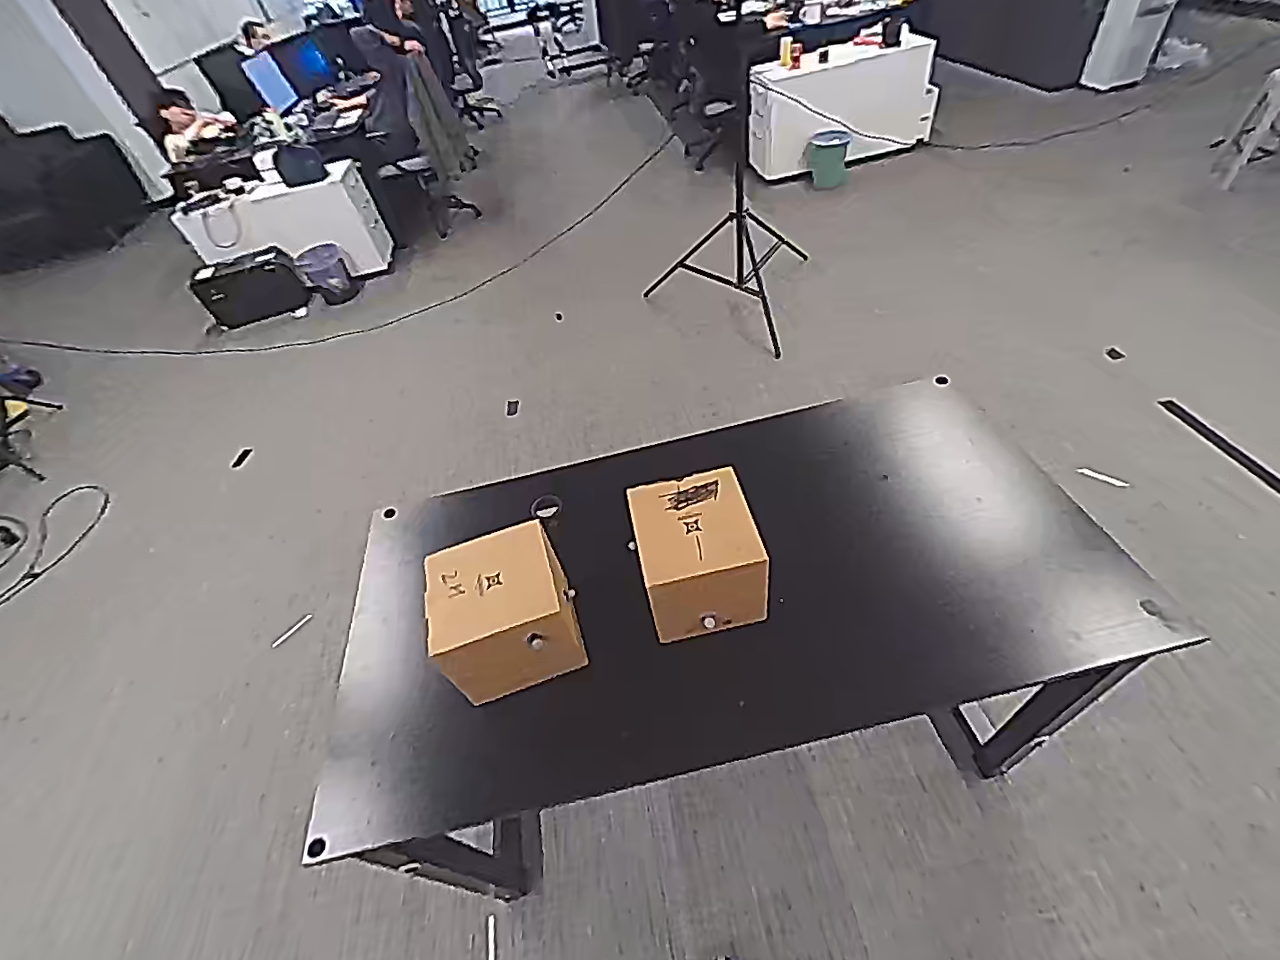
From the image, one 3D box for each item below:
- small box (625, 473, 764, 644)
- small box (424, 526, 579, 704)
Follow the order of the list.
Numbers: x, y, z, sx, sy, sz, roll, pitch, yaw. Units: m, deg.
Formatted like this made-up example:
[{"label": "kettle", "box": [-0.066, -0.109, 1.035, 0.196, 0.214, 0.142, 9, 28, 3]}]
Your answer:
[{"label": "small box", "box": [0.079, 0.120, 0.817, 0.168, 0.176, 0.179, -13, 48, 0]}, {"label": "small box", "box": [-0.198, 0.201, 0.800, 0.179, 0.176, 0.168, -19, 47, -6]}]
